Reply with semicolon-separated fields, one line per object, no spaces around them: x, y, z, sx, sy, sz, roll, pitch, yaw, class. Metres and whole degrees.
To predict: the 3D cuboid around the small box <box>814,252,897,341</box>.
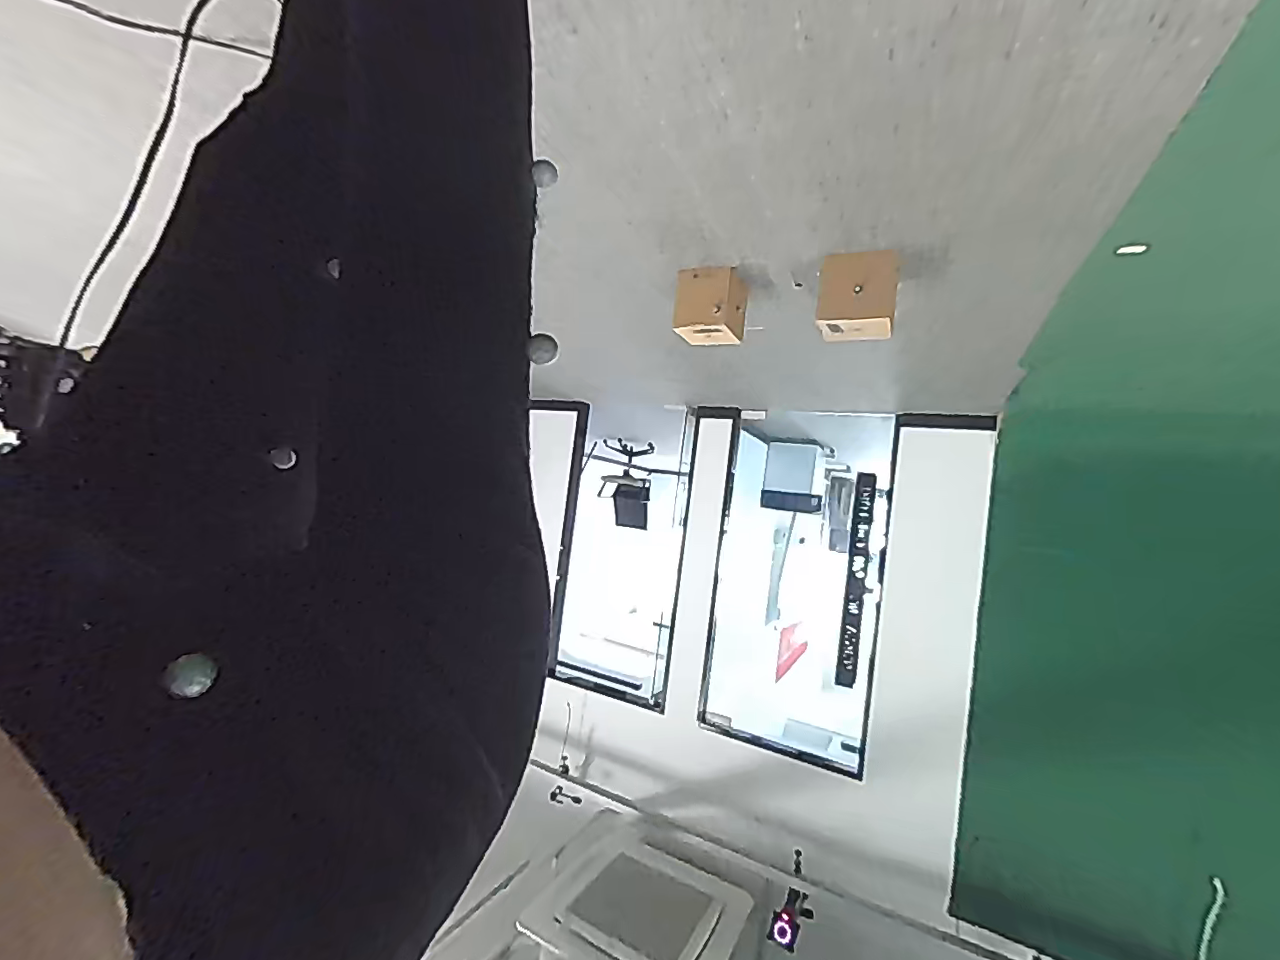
0.560;-0.468;1.399;0.179;0.176;0.168;5;178;26;small box
